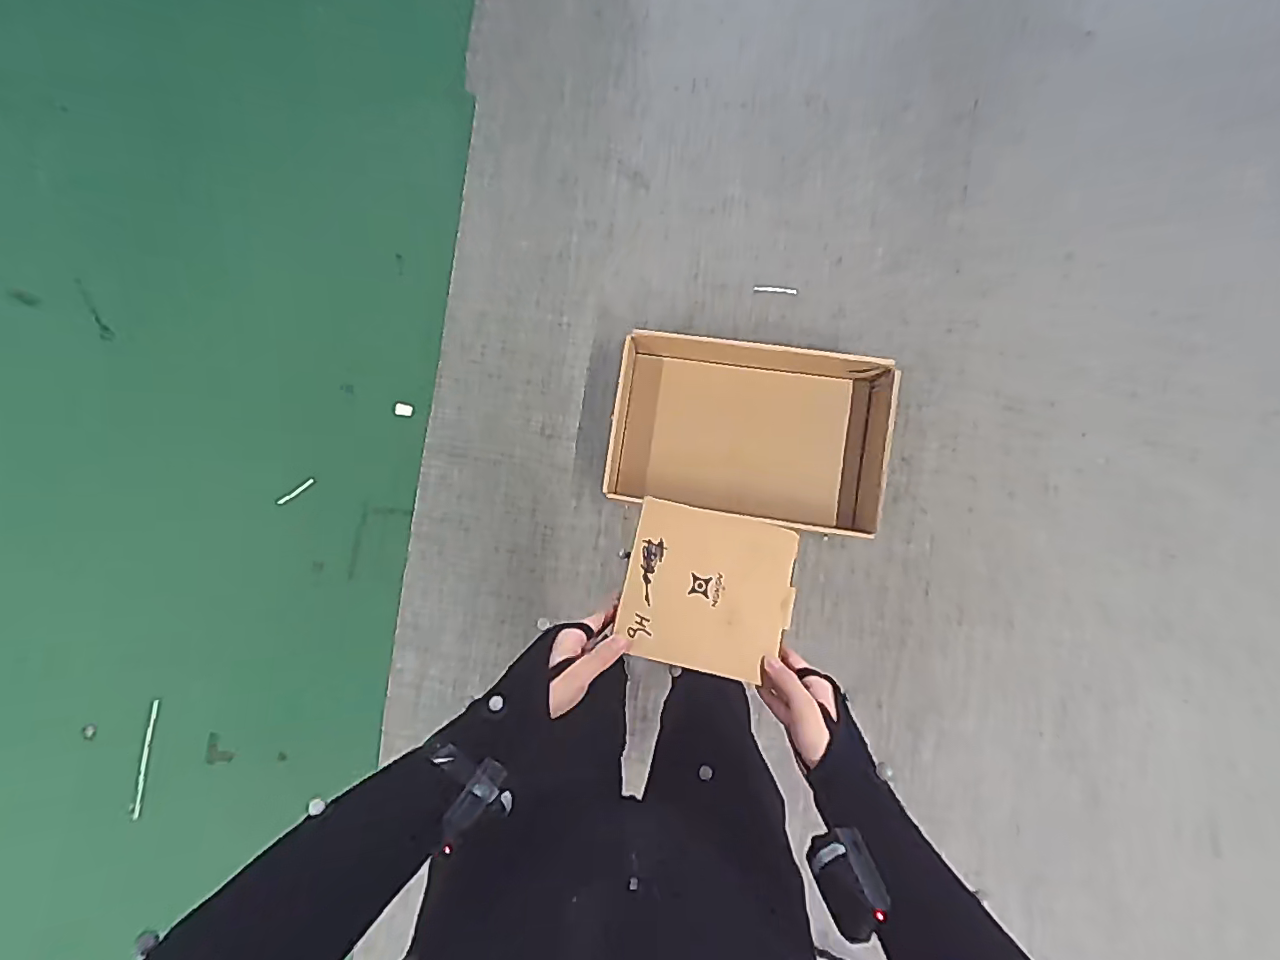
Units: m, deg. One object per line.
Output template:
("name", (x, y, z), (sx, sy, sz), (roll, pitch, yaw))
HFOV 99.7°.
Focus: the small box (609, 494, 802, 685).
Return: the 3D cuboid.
("small box", (0.067, 0.131, 0.638), (0.179, 0.176, 0.168), (14, 74, -1))
